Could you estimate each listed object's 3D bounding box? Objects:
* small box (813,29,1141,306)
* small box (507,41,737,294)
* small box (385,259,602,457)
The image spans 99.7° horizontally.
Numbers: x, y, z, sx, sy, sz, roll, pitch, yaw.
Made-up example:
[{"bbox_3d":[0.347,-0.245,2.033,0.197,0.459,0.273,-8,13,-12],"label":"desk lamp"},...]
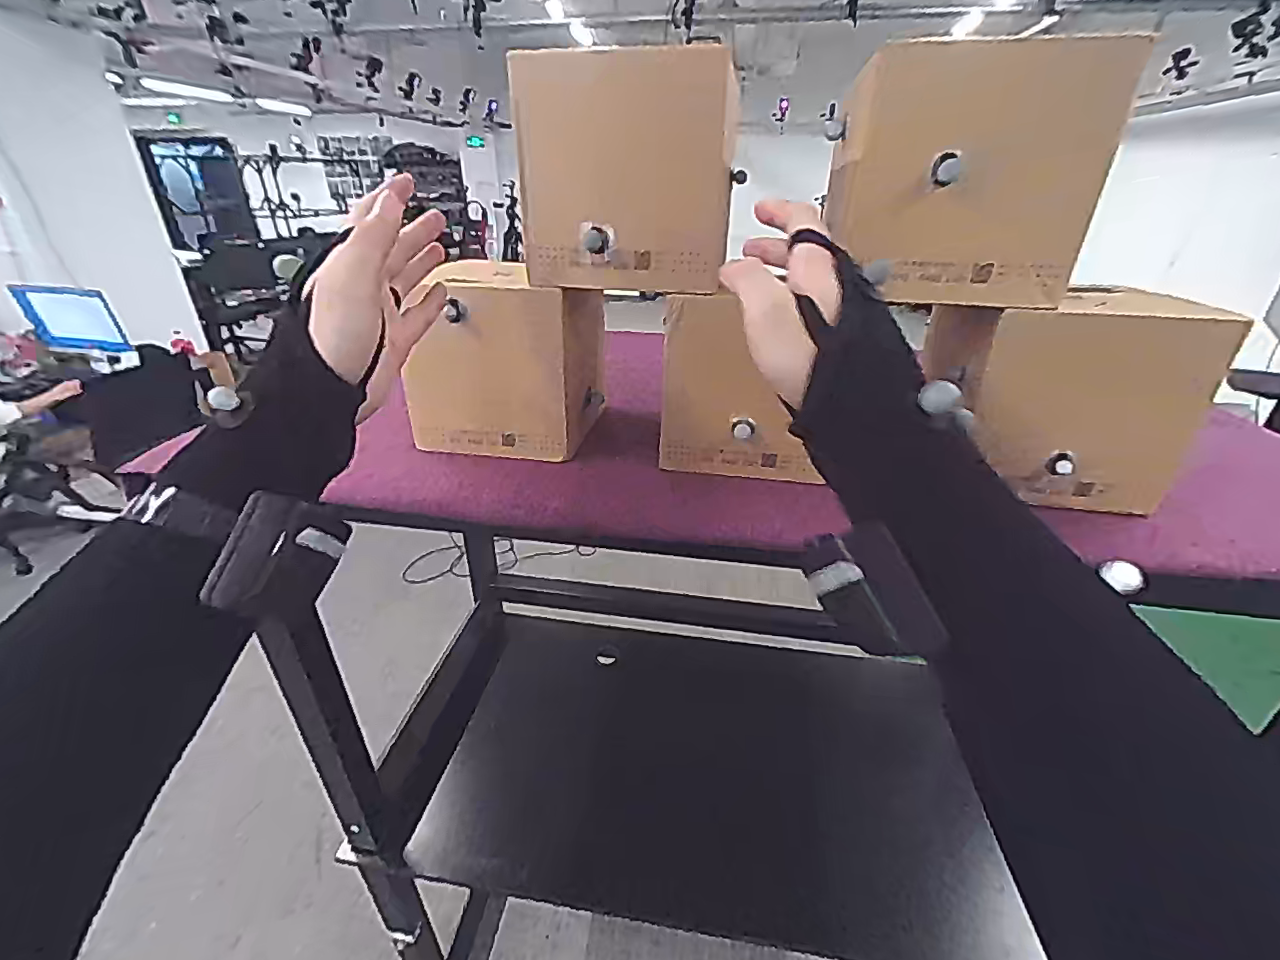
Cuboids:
[{"bbox_3d":[0.247,-0.246,0.455,0.168,0.176,0.179,6,27,9],"label":"small box"},{"bbox_3d":[-0.006,-0.274,0.495,0.168,0.176,0.179,6,28,10],"label":"small box"},{"bbox_3d":[-0.140,-0.138,0.582,0.168,0.176,0.179,5,27,8],"label":"small box"}]
